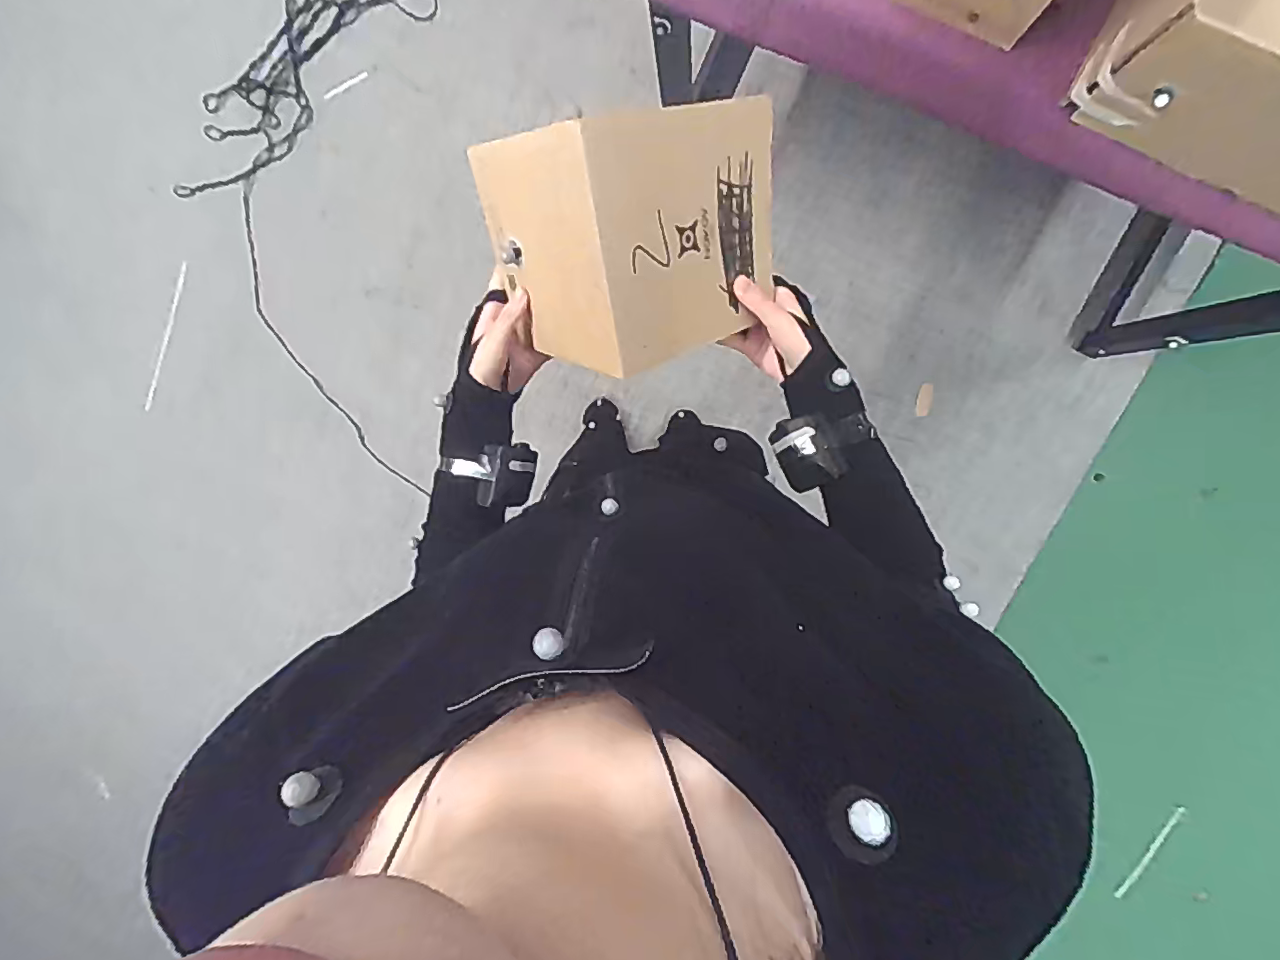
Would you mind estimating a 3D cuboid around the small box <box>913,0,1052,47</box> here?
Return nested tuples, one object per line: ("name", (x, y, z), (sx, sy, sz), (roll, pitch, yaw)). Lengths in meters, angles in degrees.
("small box", (0.408, -0.622, 0.572), (0.168, 0.176, 0.179), (27, 98, 2))
